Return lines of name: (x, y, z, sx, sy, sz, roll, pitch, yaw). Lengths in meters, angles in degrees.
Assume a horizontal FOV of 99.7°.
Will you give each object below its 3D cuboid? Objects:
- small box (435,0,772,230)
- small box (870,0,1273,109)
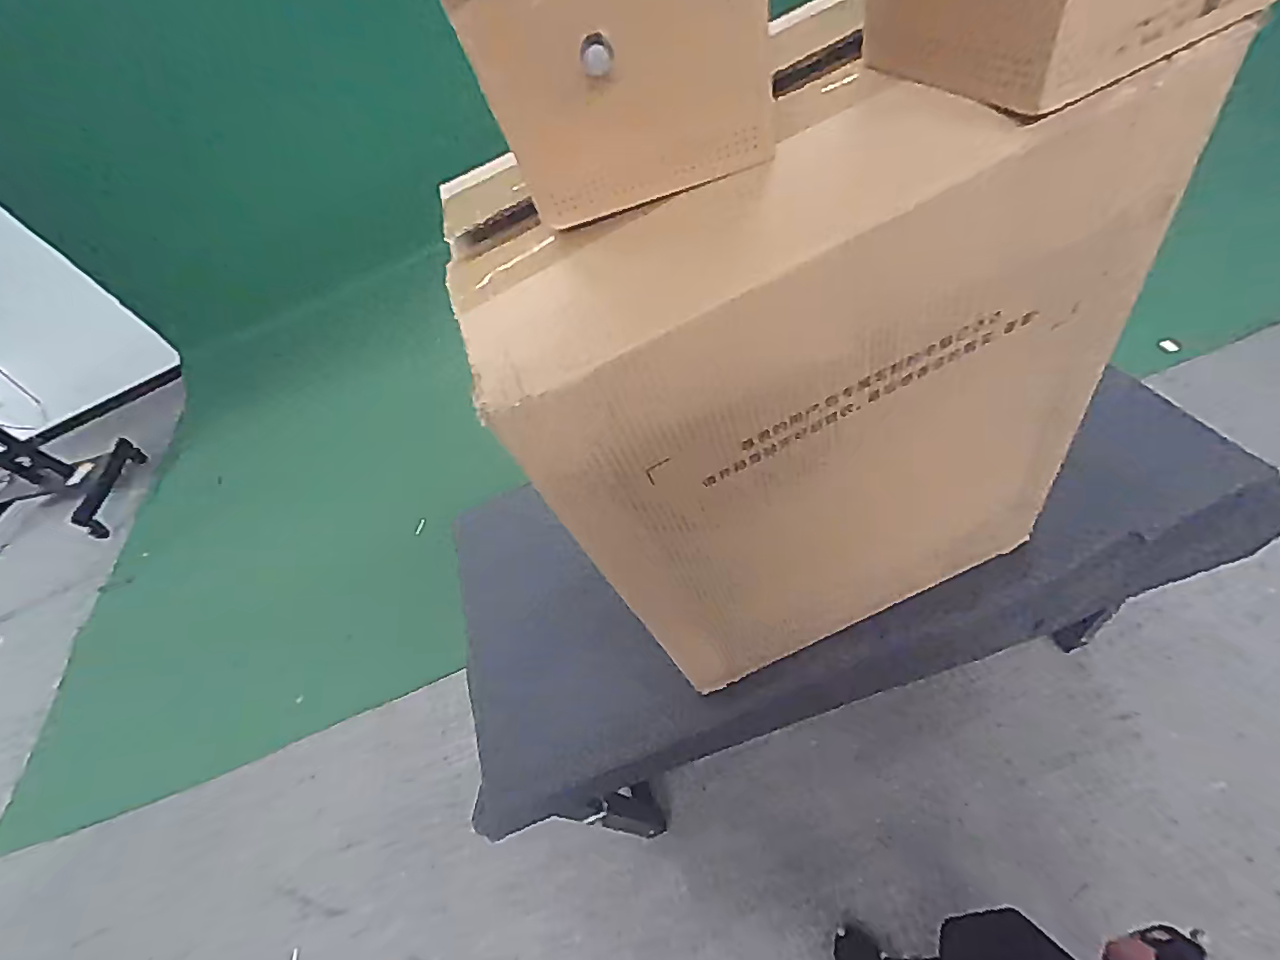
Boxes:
small box: (-0.018, -0.308, 0.372, 0.179, 0.176, 0.168, -15, 59, 10)
small box: (0.252, -0.350, 0.311, 0.168, 0.176, 0.179, -26, 50, 1)
